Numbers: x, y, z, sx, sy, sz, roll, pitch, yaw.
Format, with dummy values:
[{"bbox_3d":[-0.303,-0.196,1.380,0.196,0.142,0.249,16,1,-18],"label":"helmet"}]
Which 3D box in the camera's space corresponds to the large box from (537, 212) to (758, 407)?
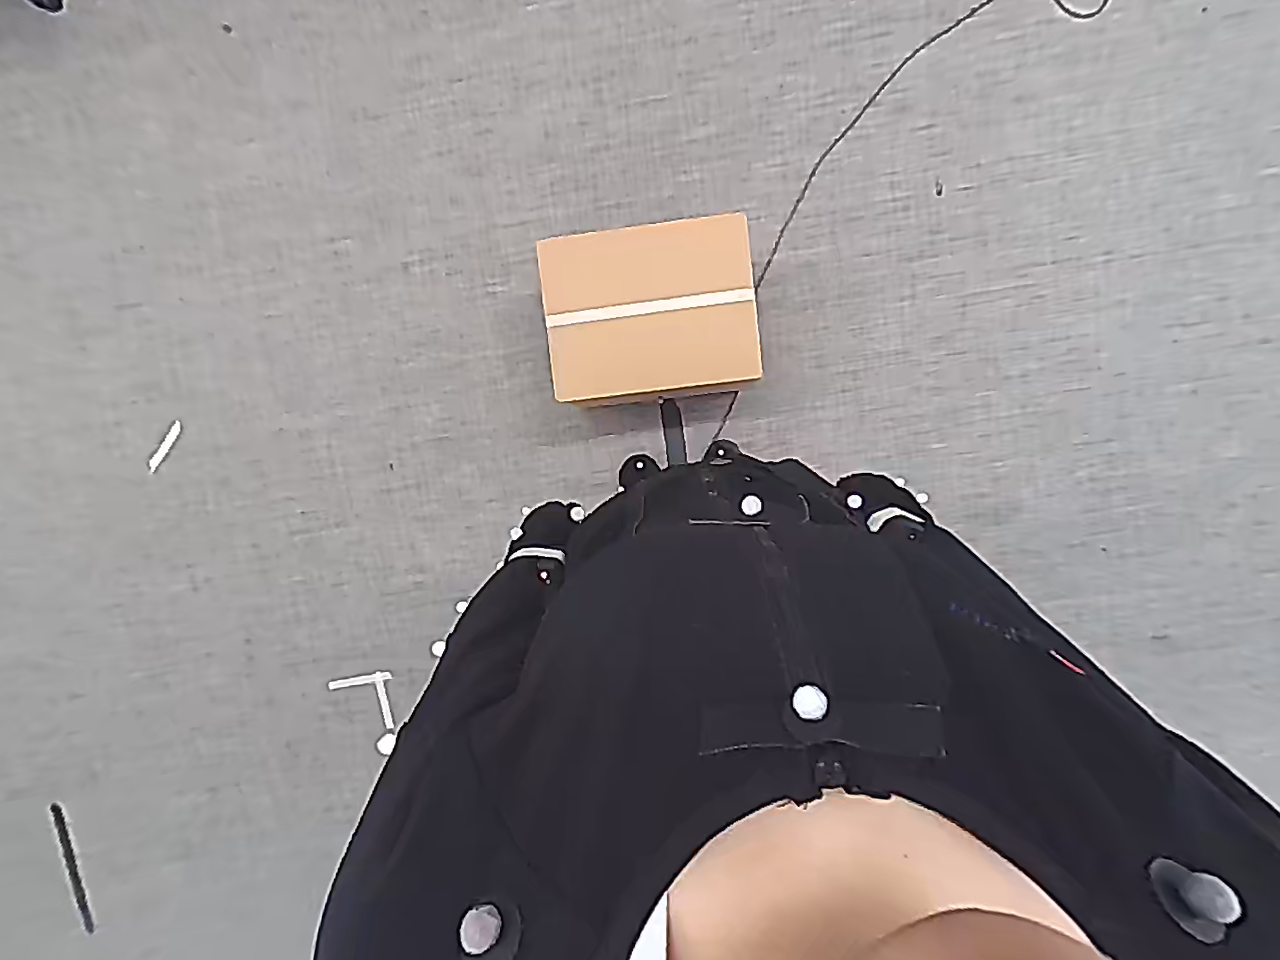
[{"bbox_3d":[0.019,-0.345,1.192,0.408,0.320,0.320,-6,96,3],"label":"large box"}]
